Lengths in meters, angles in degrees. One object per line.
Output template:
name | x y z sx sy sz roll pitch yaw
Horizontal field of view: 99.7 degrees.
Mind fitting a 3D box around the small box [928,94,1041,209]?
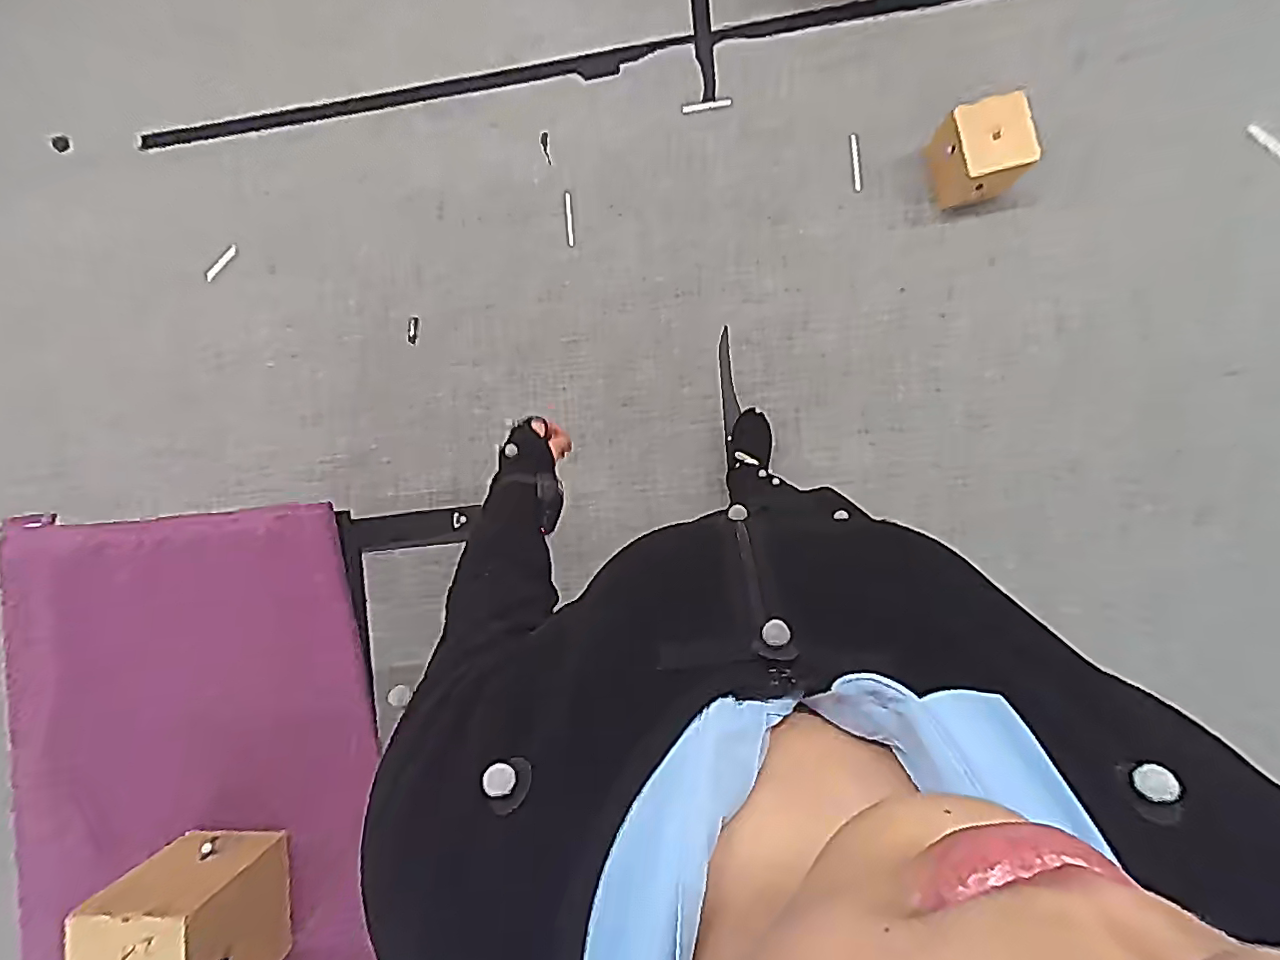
small box | 0.858 -0.813 1.363 0.168 0.176 0.179 -12 87 6

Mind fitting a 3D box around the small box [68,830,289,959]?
small box | -0.612 0.619 0.737 0.168 0.176 0.179 -3 88 6
